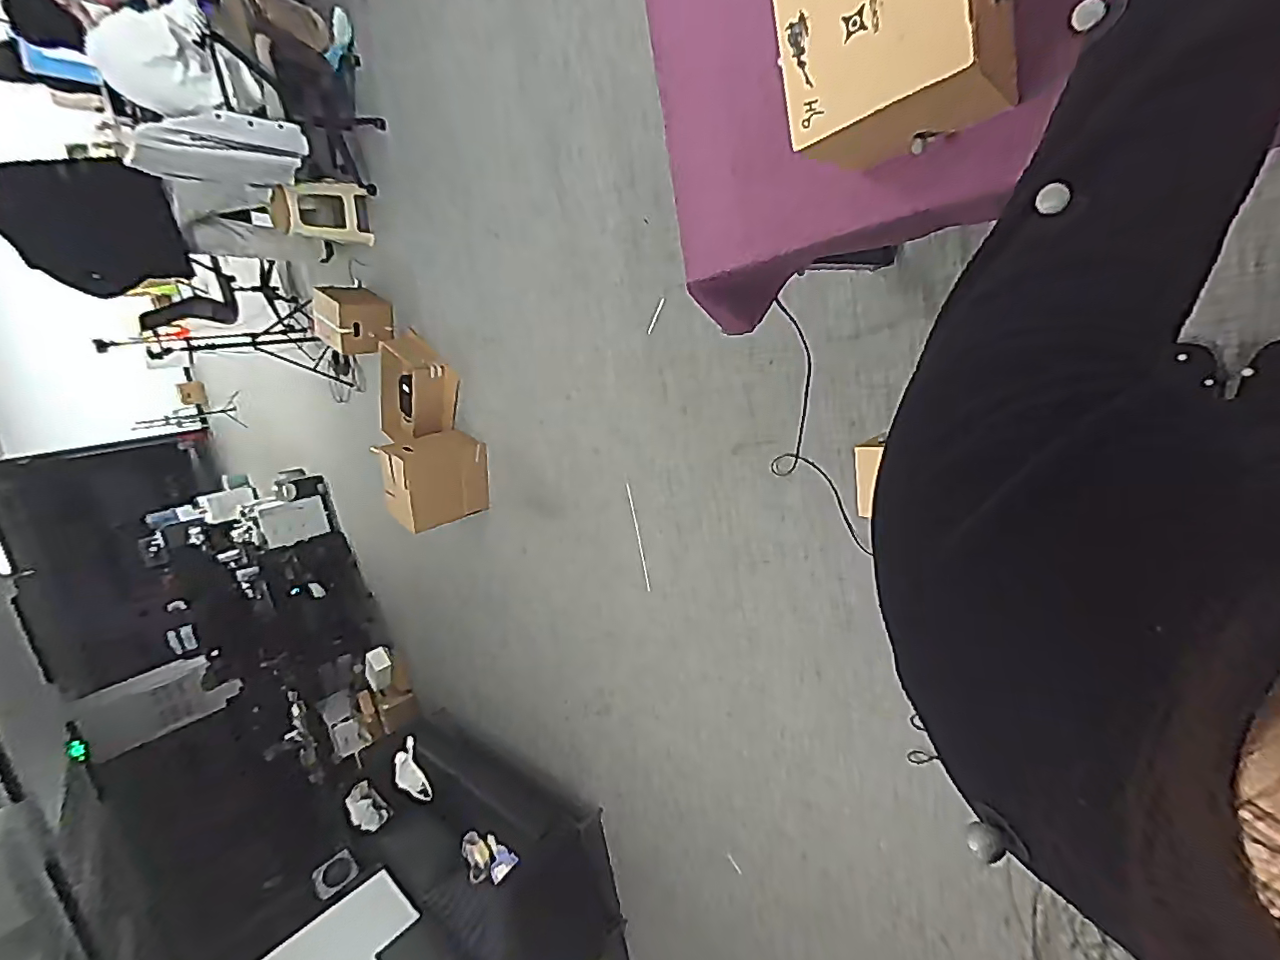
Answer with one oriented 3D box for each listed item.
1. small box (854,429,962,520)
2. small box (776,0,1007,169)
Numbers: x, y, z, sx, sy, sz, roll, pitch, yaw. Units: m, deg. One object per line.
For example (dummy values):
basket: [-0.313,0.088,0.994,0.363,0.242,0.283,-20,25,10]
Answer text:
small box: [0.608,-0.019,1.225,0.179,0.176,0.168,4,109,44]
small box: [0.269,-0.454,0.567,0.179,0.176,0.168,-1,104,44]
